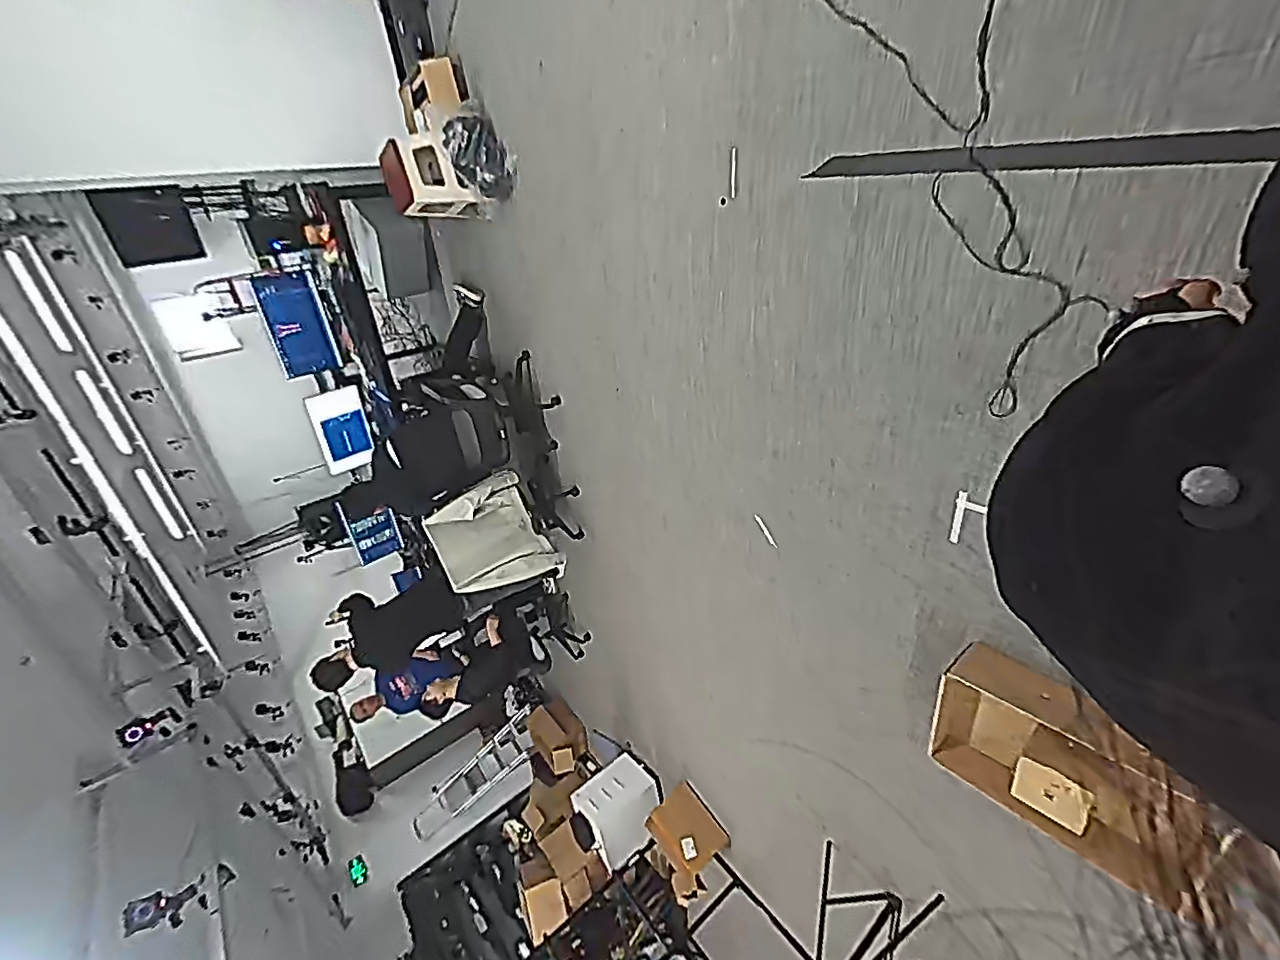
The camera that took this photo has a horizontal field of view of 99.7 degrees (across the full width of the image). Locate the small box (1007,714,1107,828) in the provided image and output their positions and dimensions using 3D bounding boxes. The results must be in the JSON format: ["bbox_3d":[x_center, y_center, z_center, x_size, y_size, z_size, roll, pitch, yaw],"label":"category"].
[{"bbox_3d":[1.149,0.795,1.491,0.168,0.176,0.179,21,128,47],"label":"small box"}]
